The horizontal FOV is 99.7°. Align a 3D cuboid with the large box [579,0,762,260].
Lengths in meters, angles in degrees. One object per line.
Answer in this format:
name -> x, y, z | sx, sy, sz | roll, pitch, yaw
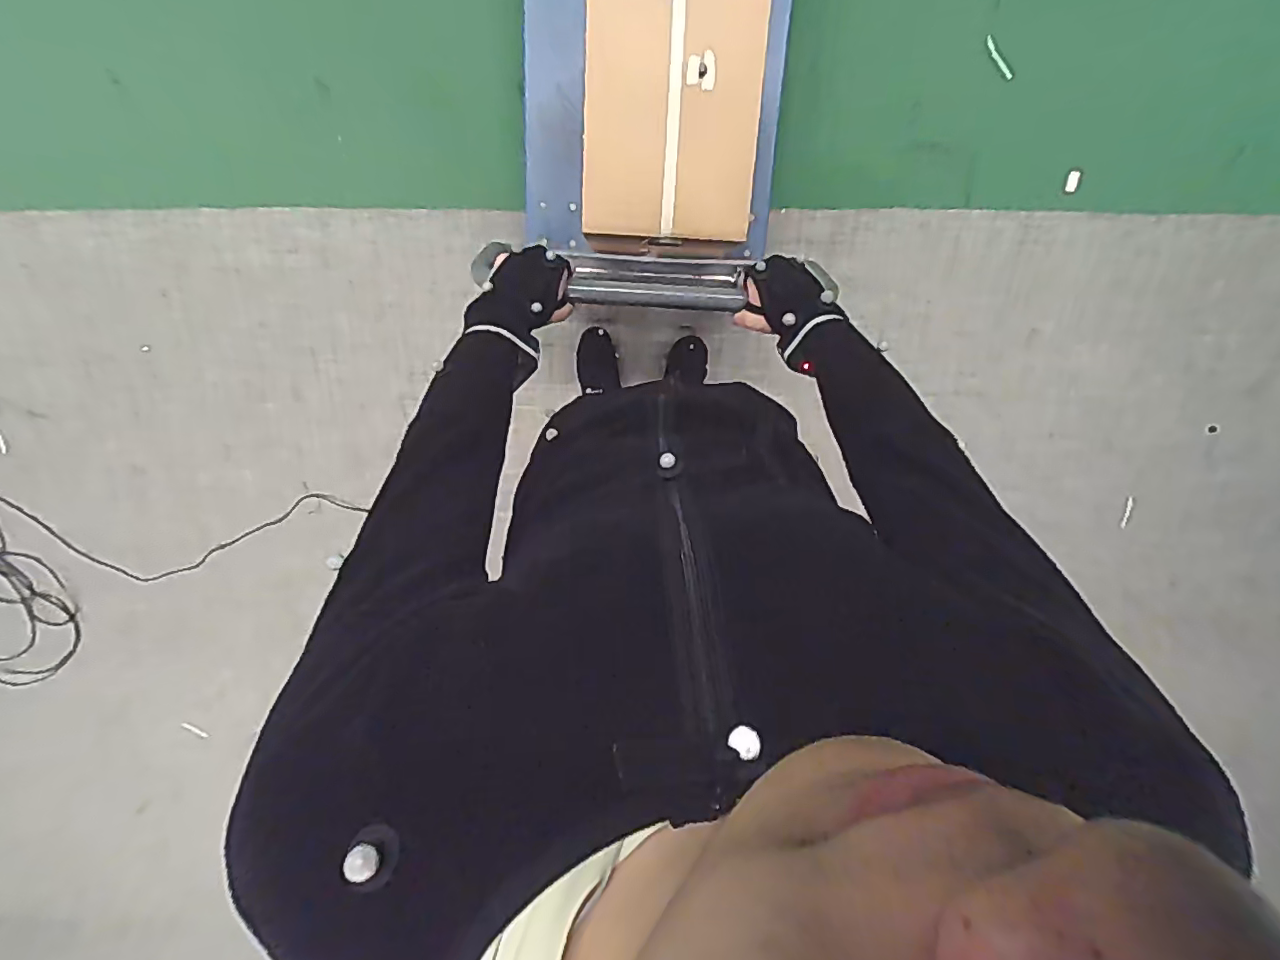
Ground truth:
large box -> 0.046, -0.682, 1.108 | 0.320, 0.320, 0.408 | 2, 106, -3
